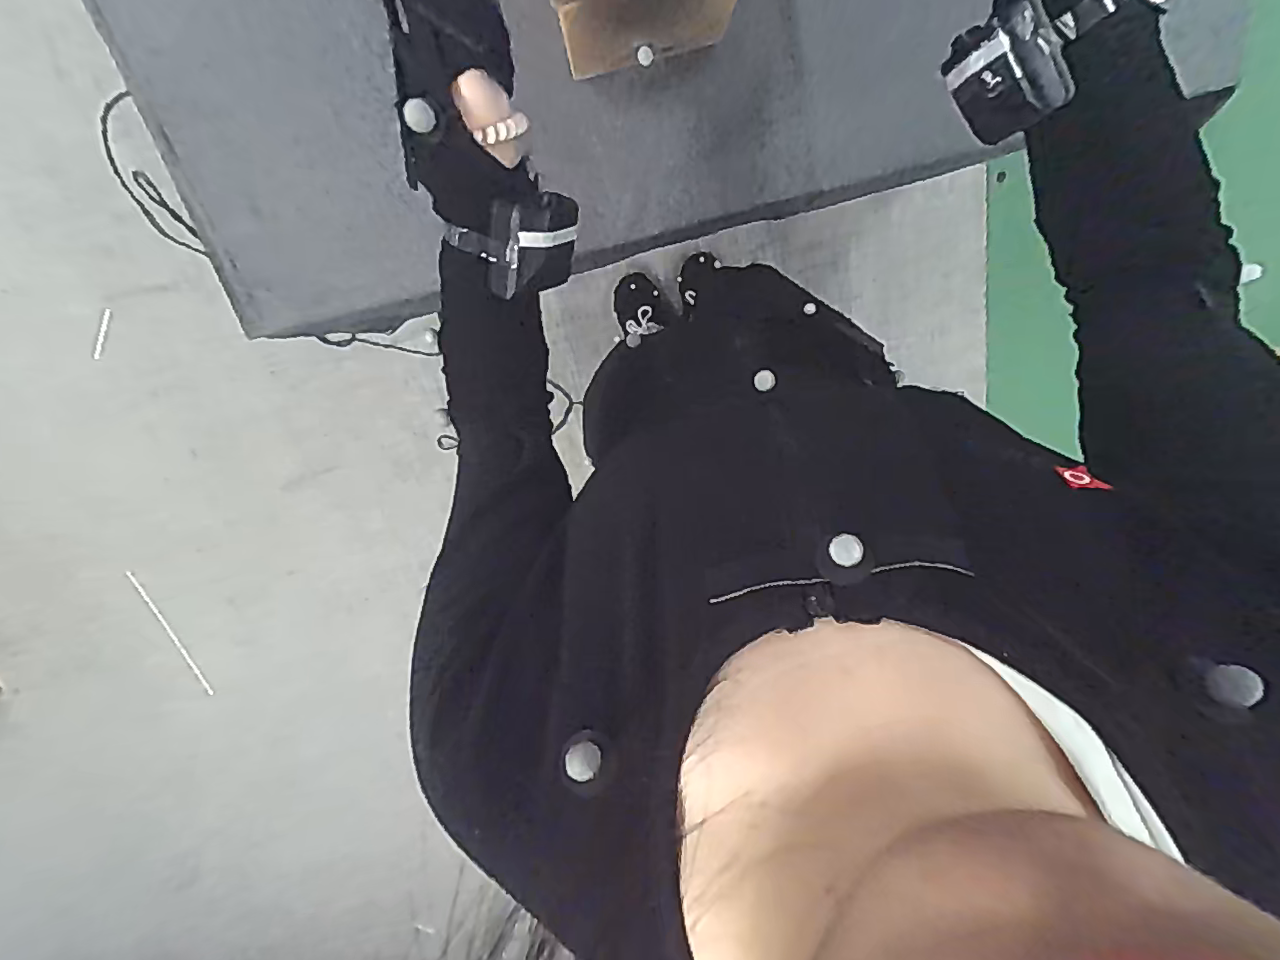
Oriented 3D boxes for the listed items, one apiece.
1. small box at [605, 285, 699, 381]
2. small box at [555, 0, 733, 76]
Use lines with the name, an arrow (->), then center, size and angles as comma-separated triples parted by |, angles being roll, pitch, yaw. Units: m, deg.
small box -> 0.025, -0.364, 1.331 | 0.179, 0.176, 0.168 | 24, 122, 8
small box -> -0.008, -0.510, 0.486 | 0.168, 0.176, 0.179 | -12, 110, 3
